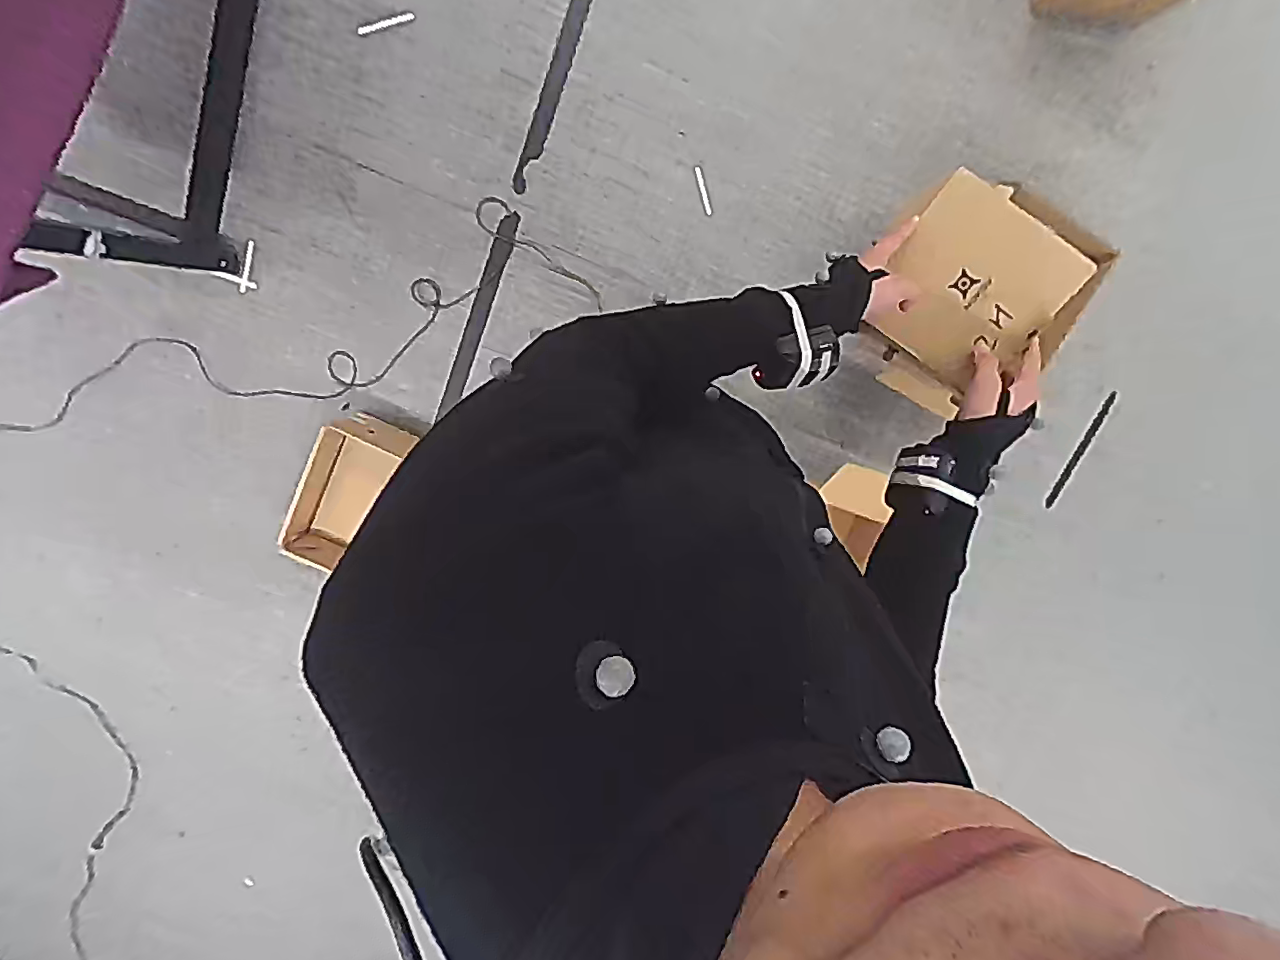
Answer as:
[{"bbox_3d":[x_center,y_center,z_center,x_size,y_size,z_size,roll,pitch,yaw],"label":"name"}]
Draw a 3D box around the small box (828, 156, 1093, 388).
[{"bbox_3d":[0.346,-0.229,0.631,0.179,0.176,0.168,35,109,-2],"label":"small box"}]
